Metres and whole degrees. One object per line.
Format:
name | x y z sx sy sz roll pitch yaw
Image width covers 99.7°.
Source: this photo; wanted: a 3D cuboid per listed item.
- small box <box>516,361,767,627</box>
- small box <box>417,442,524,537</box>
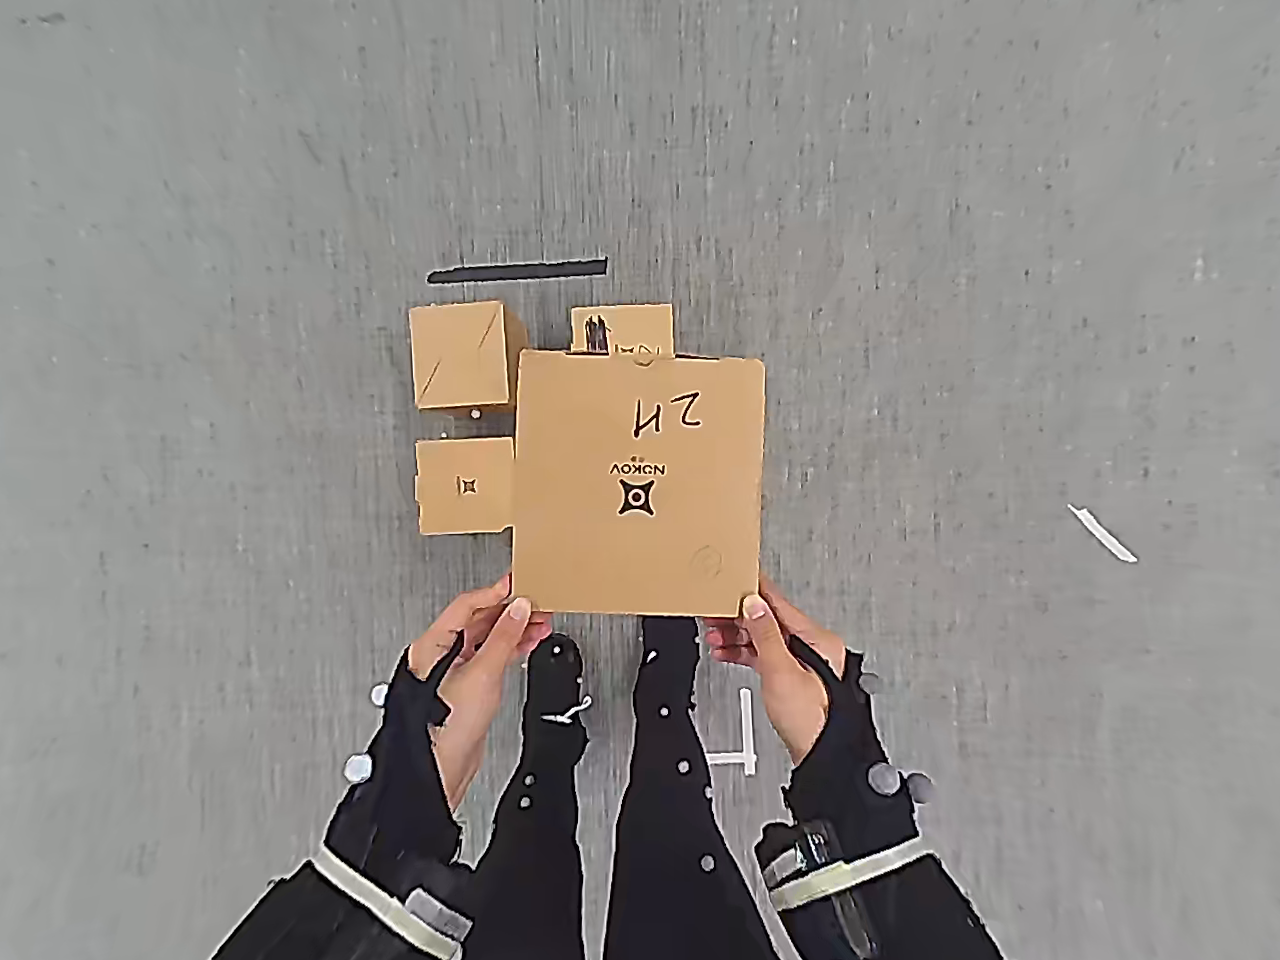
small box | 0.000 0.009 0.445 0.168 0.176 0.179 2 90 -2
small box | -0.295 0.013 1.015 0.179 0.176 0.168 -2 91 3
